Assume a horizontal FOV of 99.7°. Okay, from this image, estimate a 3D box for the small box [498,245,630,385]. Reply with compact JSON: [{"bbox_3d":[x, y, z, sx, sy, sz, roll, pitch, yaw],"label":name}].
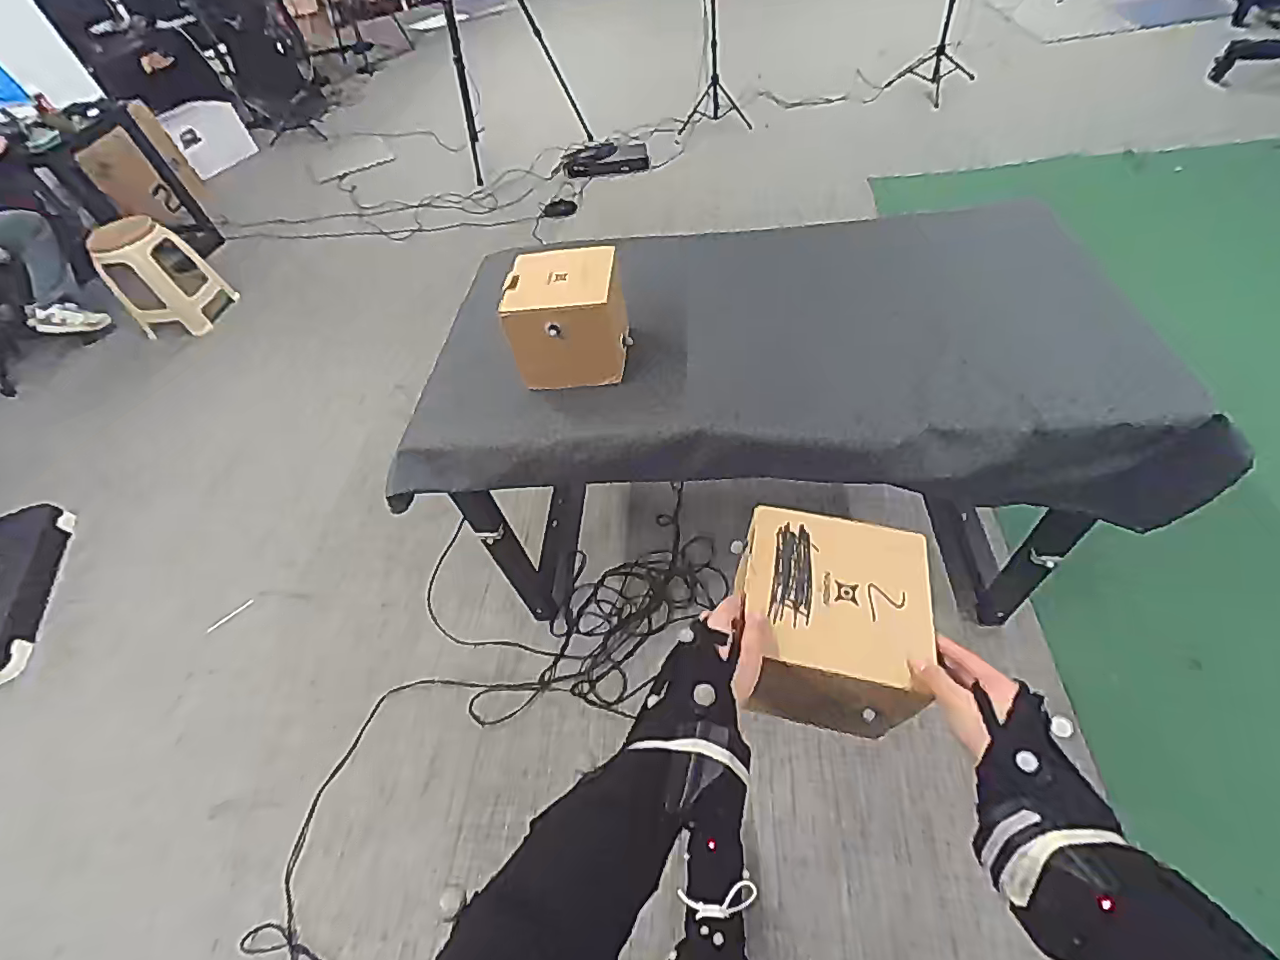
[{"bbox_3d":[-0.119,-0.279,0.933,0.179,0.176,0.168,-1,53,7],"label":"small box"}]
